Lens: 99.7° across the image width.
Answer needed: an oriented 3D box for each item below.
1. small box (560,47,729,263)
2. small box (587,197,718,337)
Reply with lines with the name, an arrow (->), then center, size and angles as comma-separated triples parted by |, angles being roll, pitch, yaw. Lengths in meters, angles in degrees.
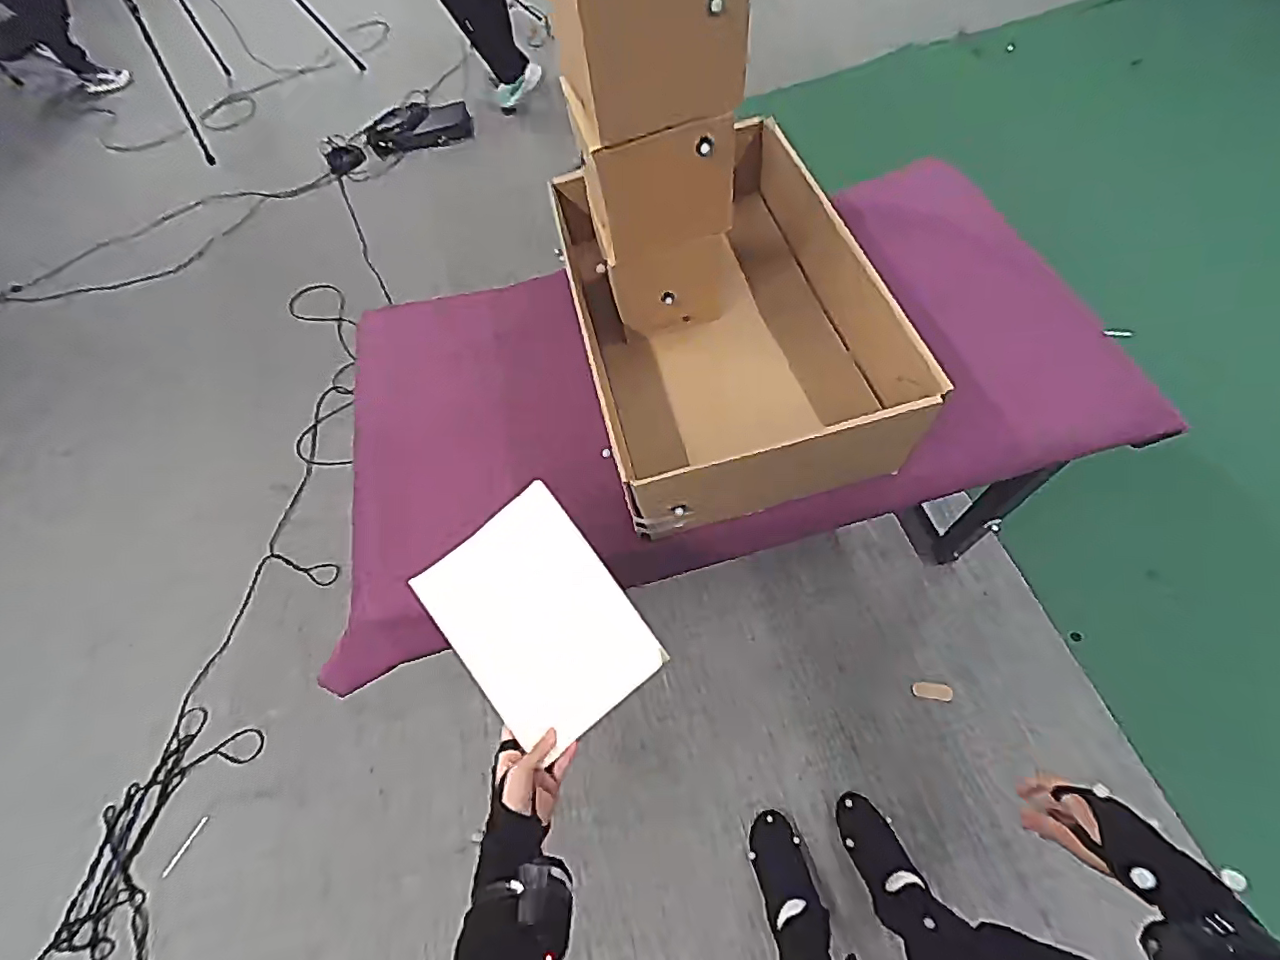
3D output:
small box -> 0.011, -0.423, 0.722 | 0.179, 0.176, 0.168 | -17, 63, -1
small box -> 0.025, -0.352, 0.867 | 0.168, 0.176, 0.179 | -15, 63, 0
